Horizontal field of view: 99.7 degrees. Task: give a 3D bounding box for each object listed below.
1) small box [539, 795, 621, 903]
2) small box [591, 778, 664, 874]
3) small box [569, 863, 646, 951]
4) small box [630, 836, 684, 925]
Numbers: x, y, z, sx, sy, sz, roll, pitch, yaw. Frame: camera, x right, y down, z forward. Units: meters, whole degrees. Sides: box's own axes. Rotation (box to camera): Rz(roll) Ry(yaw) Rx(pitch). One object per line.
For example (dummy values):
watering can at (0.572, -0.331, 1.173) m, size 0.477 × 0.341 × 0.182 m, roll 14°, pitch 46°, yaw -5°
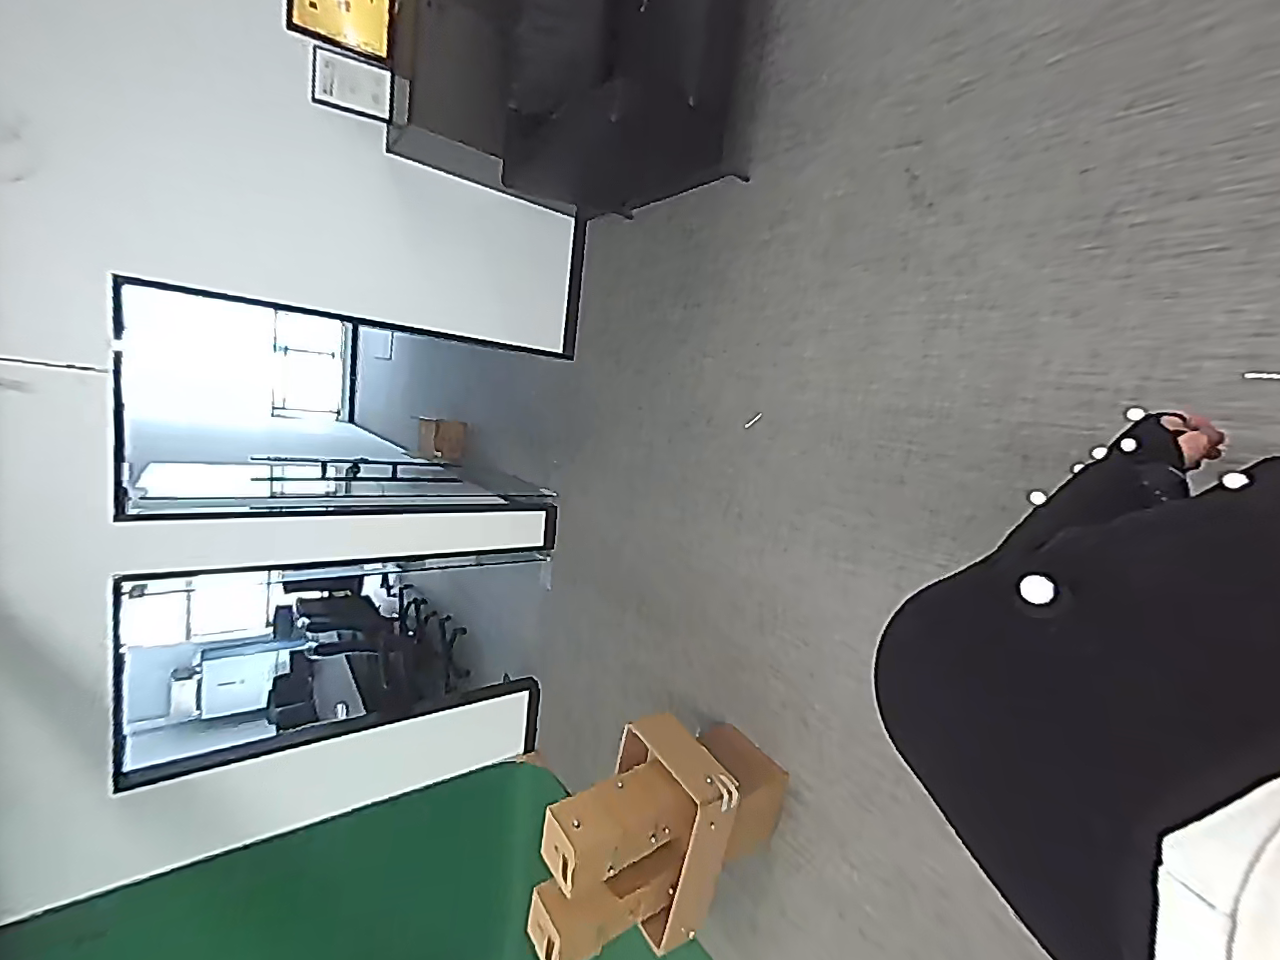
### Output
small box at (-0.176, 1.072, 1.590) m, size 0.179 × 0.176 × 0.168 m, roll 24°, pitch 109°, yaw 50°
small box at (-0.051, 1.071, 1.696) m, size 0.179 × 0.176 × 0.168 m, roll 24°, pitch 108°, yaw 48°
small box at (-0.107, 1.355, 1.763) m, size 0.179 × 0.176 × 0.168 m, roll 27°, pitch 110°, yaw 48°
small box at (0.021, 1.357, 1.860) m, size 0.179 × 0.176 × 0.168 m, roll 27°, pitch 111°, yaw 49°
